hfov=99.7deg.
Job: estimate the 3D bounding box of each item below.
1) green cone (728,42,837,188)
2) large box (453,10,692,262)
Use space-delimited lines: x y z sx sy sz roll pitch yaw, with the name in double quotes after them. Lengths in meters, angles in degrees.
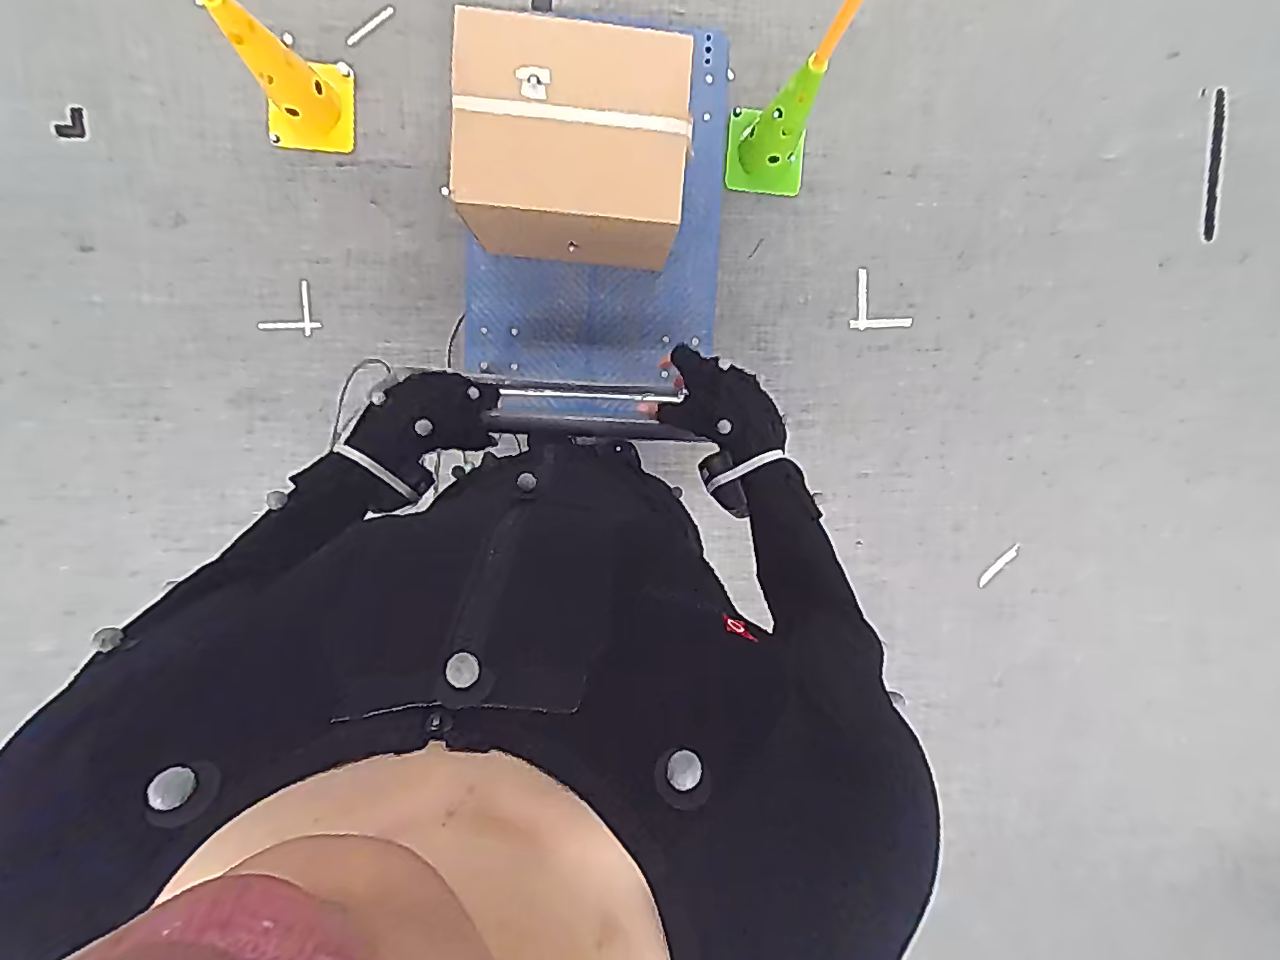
0.344 -0.846 1.225 0.202 0.368 0.200 3 96 -5 "green cone"
-0.122 -0.641 1.075 0.408 0.320 0.320 4 97 -3 "large box"
